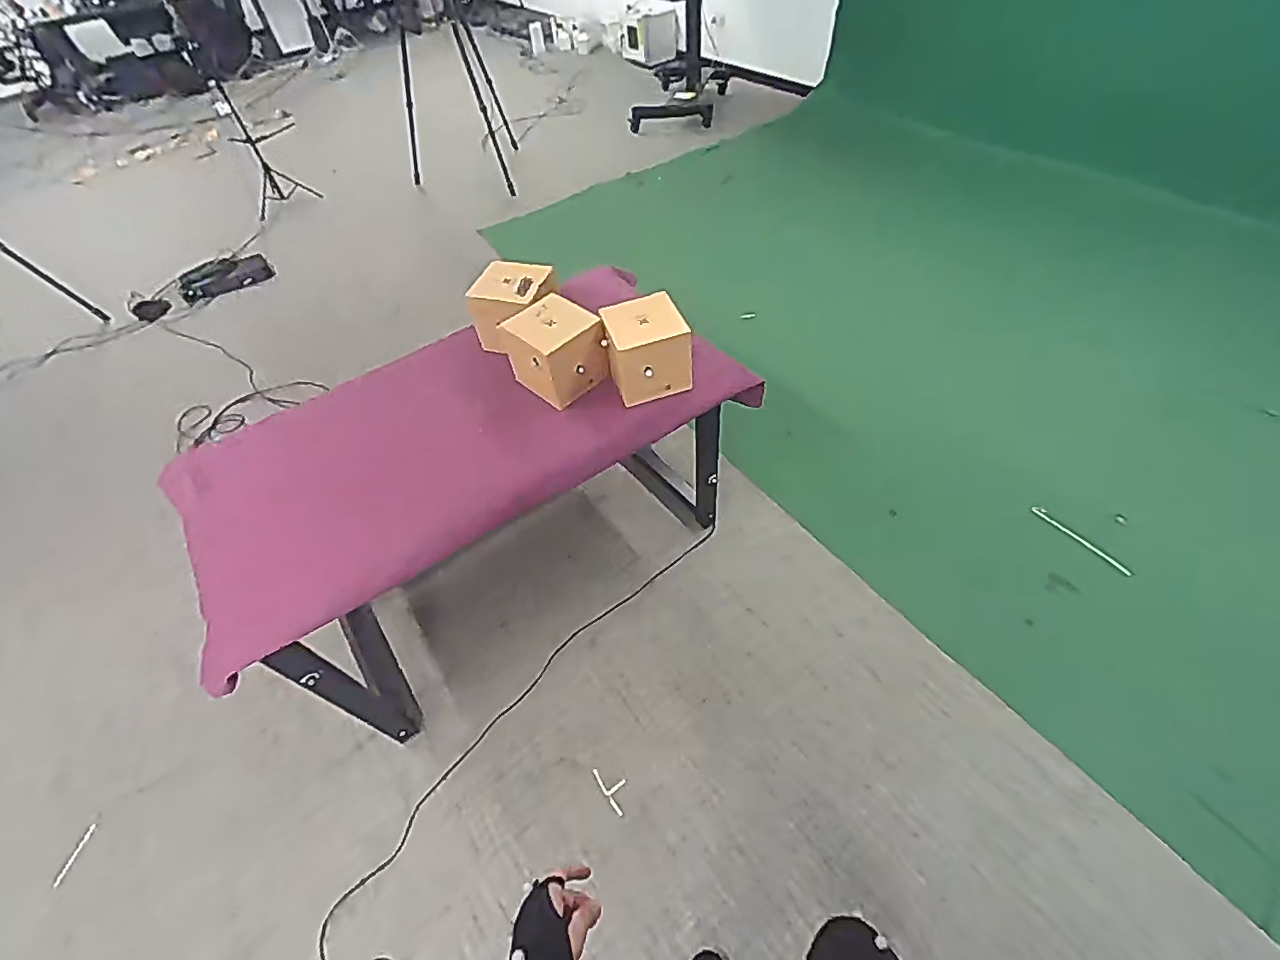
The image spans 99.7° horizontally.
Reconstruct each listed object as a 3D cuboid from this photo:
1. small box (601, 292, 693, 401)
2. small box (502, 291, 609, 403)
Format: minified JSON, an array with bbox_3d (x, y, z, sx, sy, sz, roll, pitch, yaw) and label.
[{"bbox_3d":[0.020,-0.301,1.251,0.168,0.176,0.179,-17,50,-7],"label":"small box"},{"bbox_3d":[-0.191,-0.307,1.276,0.168,0.176,0.179,-40,58,-24],"label":"small box"}]
